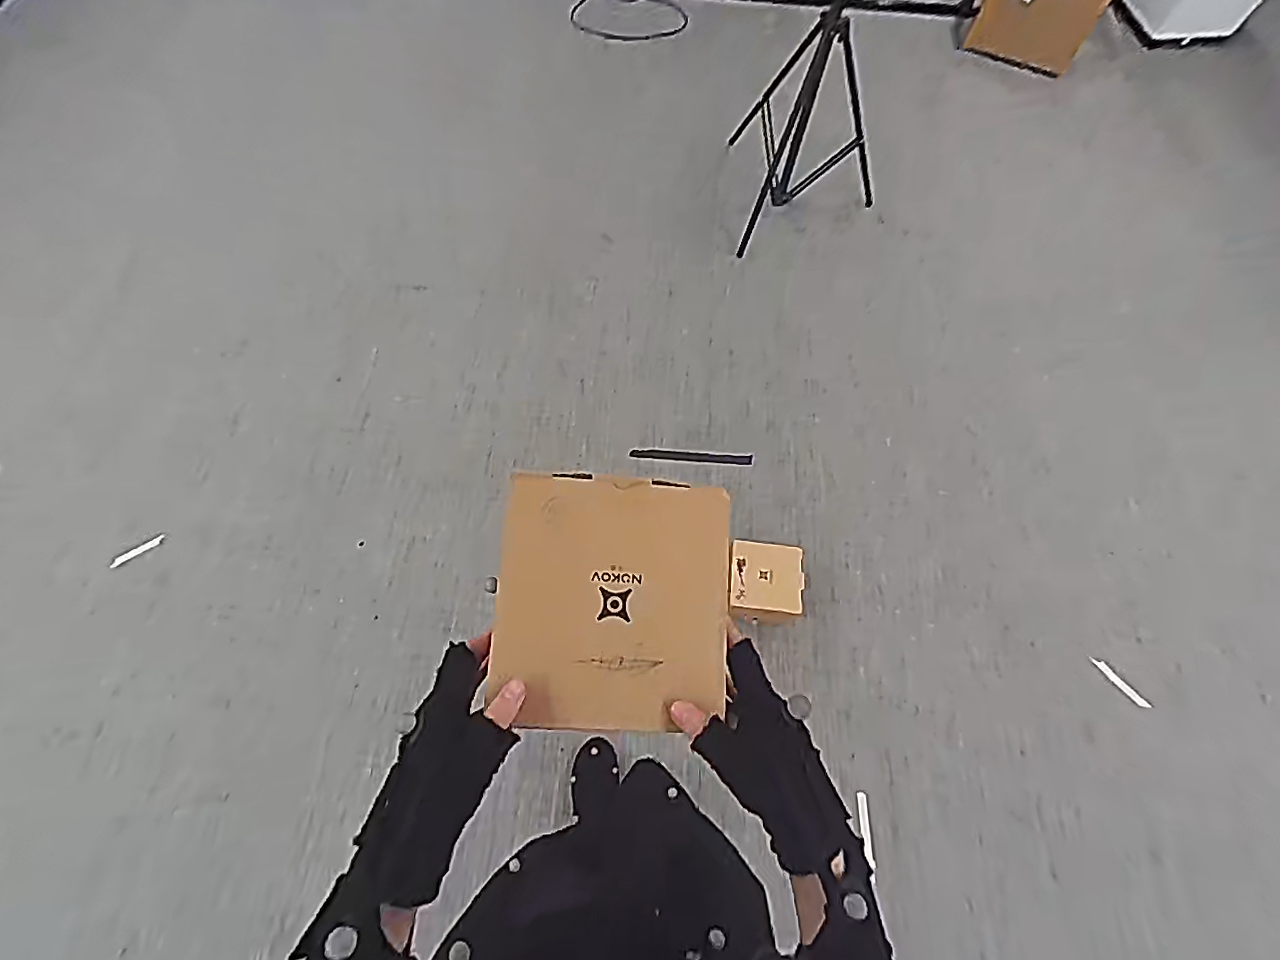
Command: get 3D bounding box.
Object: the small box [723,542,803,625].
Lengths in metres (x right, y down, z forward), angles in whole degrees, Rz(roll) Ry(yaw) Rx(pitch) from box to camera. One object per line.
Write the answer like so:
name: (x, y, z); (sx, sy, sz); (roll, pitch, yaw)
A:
small box: (0.304, 0.269, 1.379); (0.179, 0.176, 0.168); (8, 67, 1)

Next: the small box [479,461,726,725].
small box: (-0.031, 0.094, 0.457); (0.168, 0.176, 0.179); (5, 78, -6)
